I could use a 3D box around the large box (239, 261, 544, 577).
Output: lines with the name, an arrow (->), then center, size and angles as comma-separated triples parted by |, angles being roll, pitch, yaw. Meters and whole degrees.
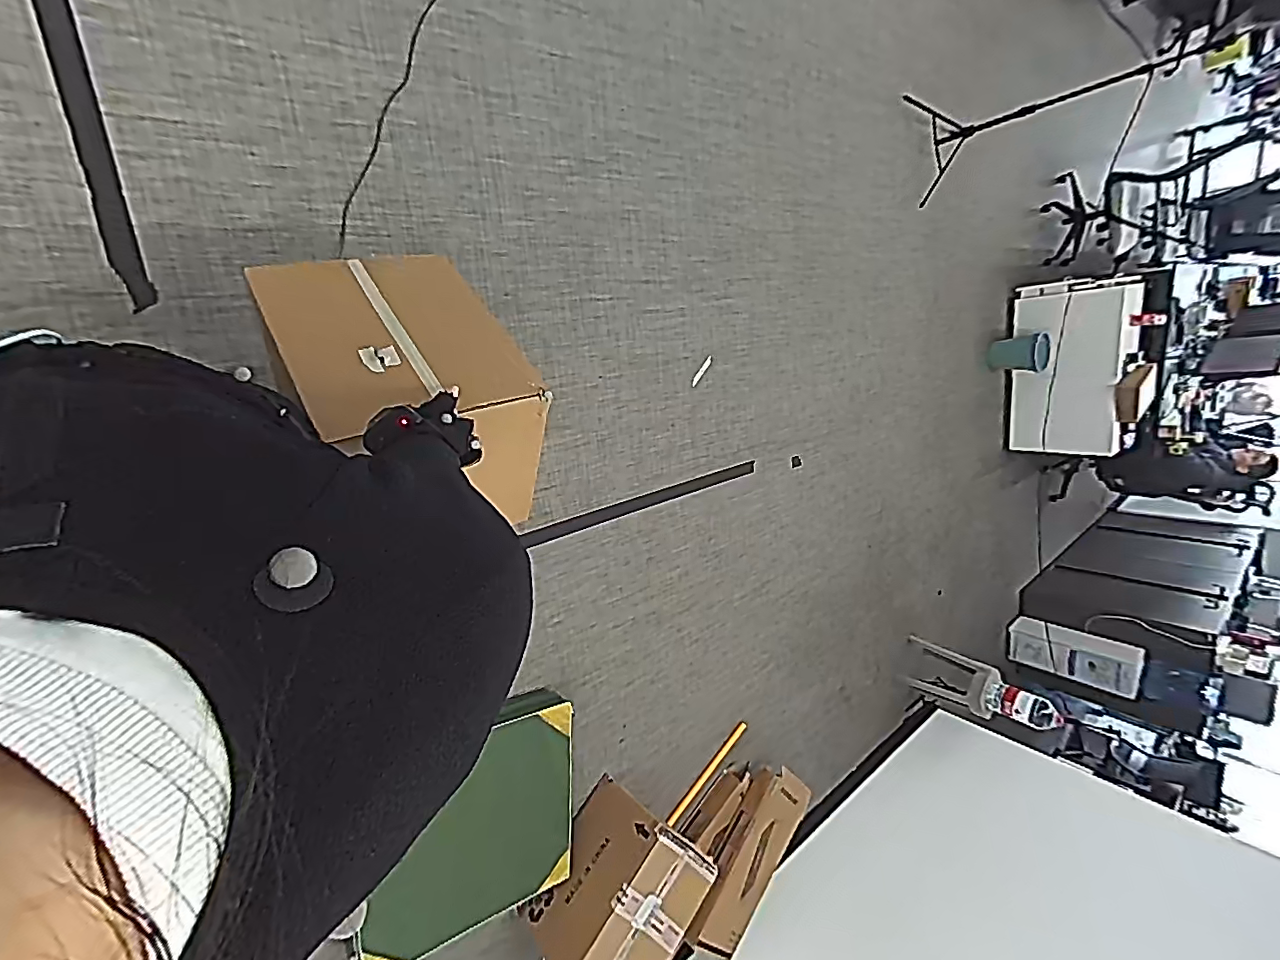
large box -> -0.413, -0.118, 0.917 | 0.320, 0.408, 0.320 | -21, 149, -32
